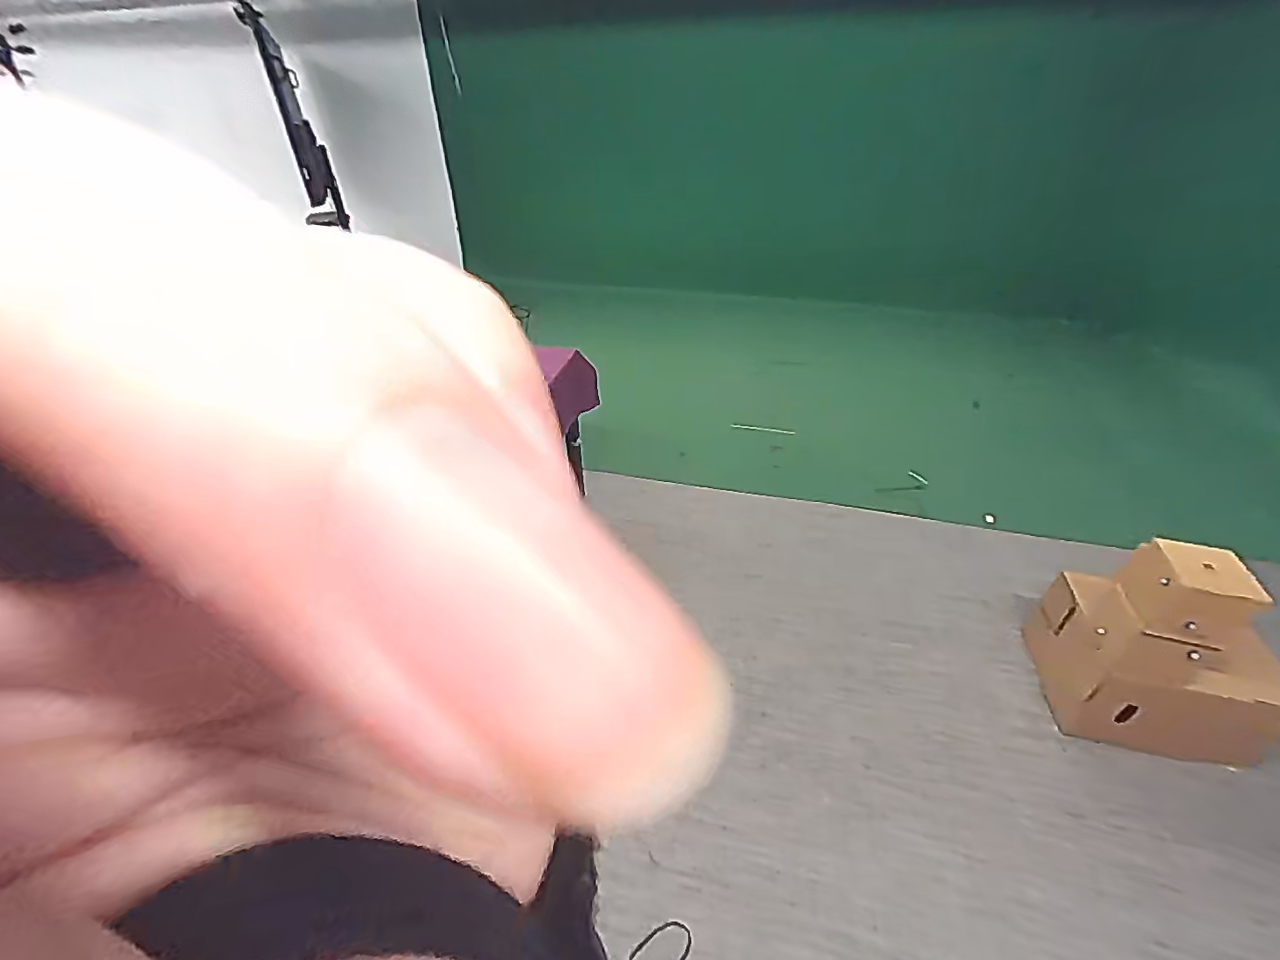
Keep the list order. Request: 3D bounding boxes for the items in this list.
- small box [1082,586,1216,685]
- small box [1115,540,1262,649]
[{"bbox_3d":[1.324,0.411,1.423,0.179,0.176,0.168,10,36,14],"label":"small box"},{"bbox_3d":[1.326,0.279,1.327,0.168,0.176,0.179,11,37,14],"label":"small box"}]
